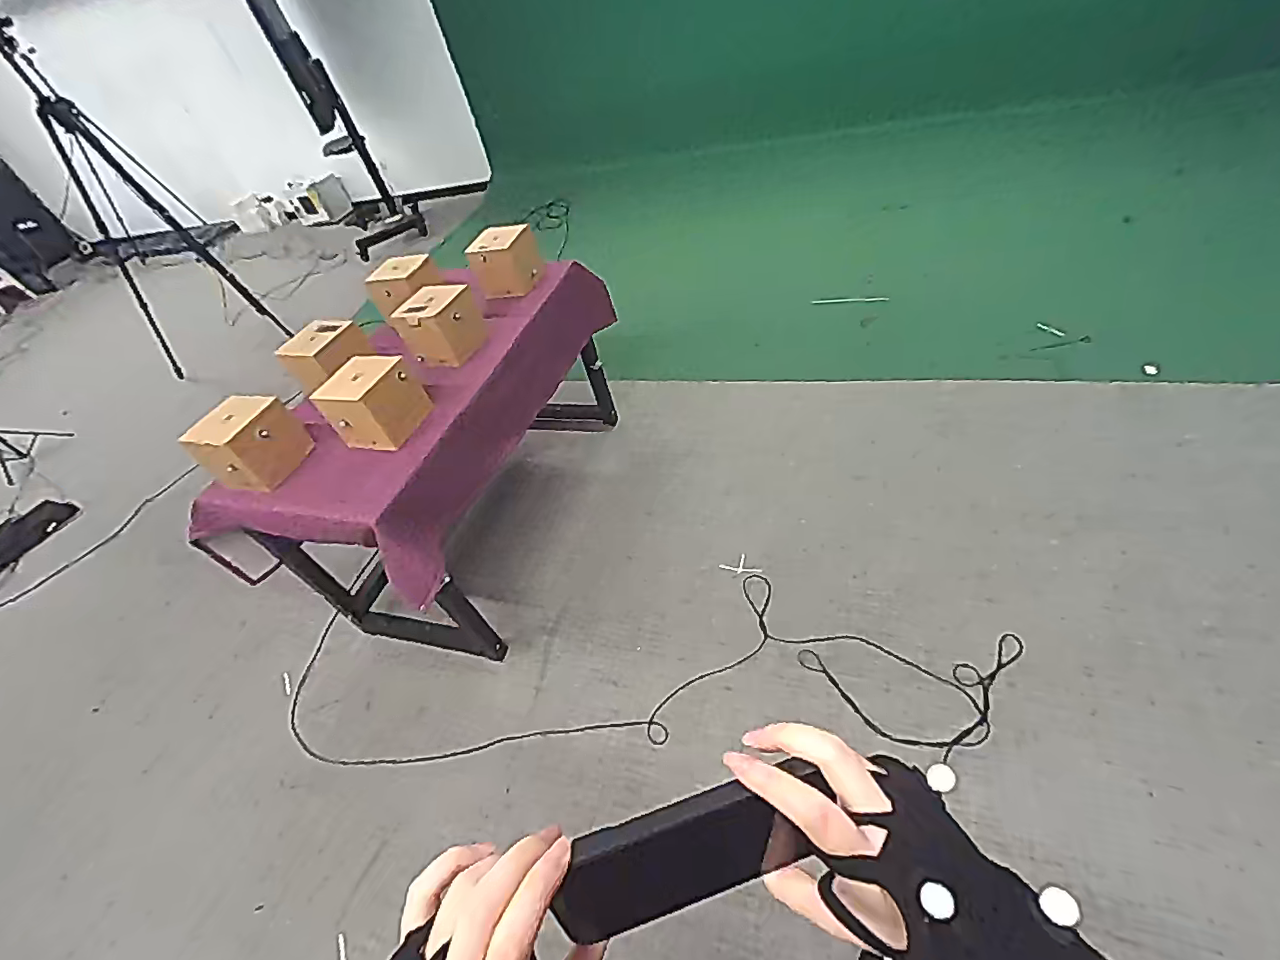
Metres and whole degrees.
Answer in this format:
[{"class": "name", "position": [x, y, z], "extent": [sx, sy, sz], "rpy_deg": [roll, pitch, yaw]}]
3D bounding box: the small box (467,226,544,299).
[{"class": "small box", "position": [-0.445, -0.734, 1.830], "extent": [0.168, 0.176, 0.179], "rpy_deg": [3, 48, 20]}]

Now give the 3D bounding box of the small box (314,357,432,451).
[{"class": "small box", "position": [-0.666, -0.192, 1.373], "extent": [0.168, 0.176, 0.179], "rpy_deg": [5, 48, 22]}]

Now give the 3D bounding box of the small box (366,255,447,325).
[{"class": "small box", "position": [-0.777, -0.639, 1.838], "extent": [0.179, 0.176, 0.168], "rpy_deg": [3, 48, 19]}]

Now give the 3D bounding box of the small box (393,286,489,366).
[{"class": "small box", "position": [-0.577, -0.451, 1.596], "extent": [0.168, 0.176, 0.179], "rpy_deg": [7, 49, 23]}]
